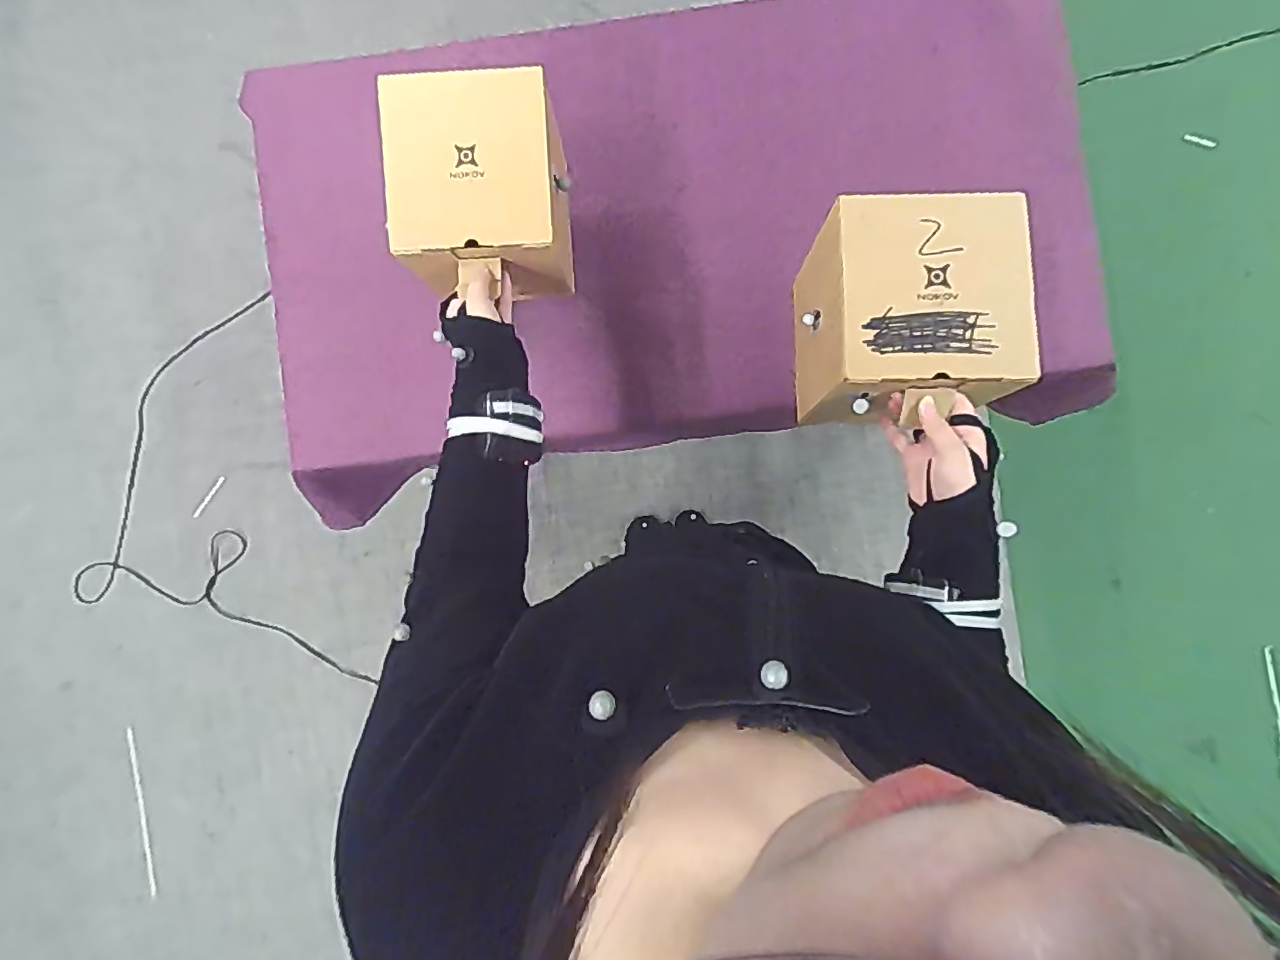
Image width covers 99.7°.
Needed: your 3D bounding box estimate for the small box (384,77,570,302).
[{"bbox_3d":[-0.175,-0.321,0.628,0.168,0.176,0.179,-3,92,0],"label":"small box"}]
